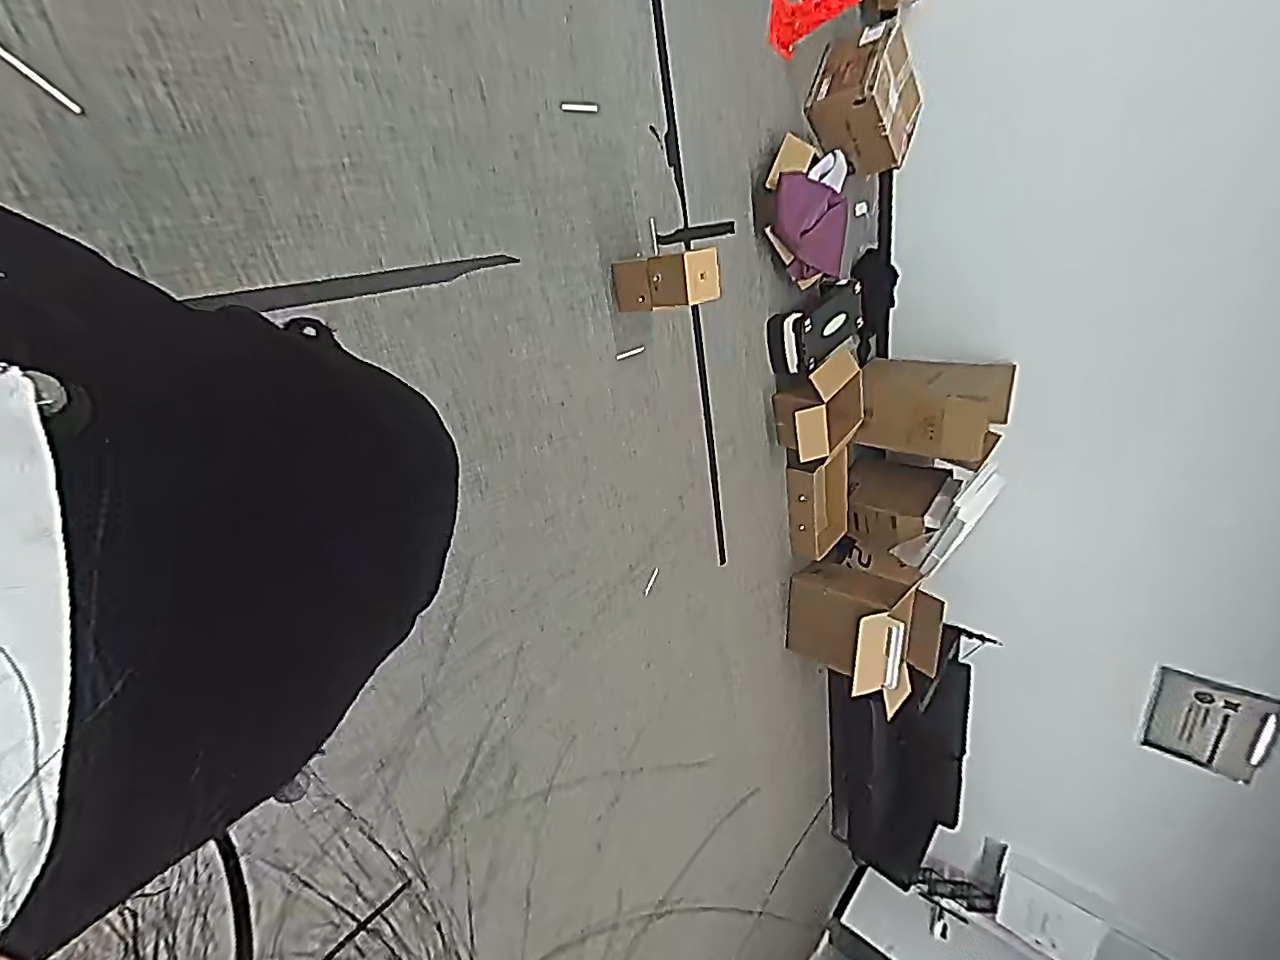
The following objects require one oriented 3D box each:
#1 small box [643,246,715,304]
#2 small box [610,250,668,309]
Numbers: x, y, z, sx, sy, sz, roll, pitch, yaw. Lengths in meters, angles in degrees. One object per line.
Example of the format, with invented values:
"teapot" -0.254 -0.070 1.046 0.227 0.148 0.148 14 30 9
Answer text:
"small box" 0.136 -0.705 1.861 0.179 0.176 0.168 -29 120 -37
"small box" 0.012 -0.727 1.964 0.168 0.176 0.179 -32 123 -37
